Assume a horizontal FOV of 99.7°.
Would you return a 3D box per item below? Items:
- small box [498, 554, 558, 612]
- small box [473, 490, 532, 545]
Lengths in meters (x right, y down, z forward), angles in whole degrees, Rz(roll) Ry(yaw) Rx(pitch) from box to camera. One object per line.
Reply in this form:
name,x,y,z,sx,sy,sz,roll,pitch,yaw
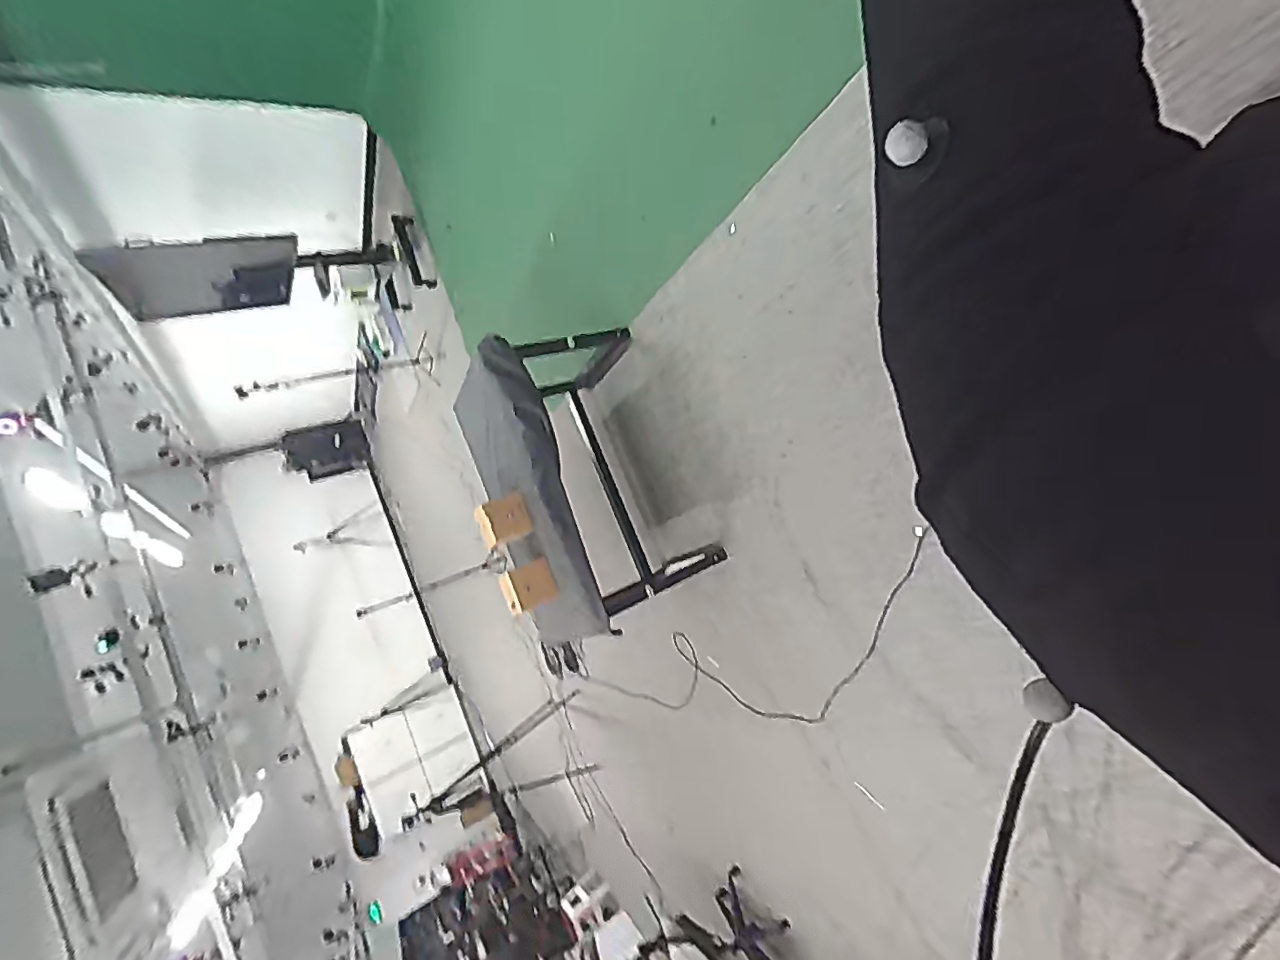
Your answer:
small box,-0.458,0.424,2.222,0.168,0.176,0.179,-35,76,57
small box,-0.568,0.154,2.248,0.179,0.176,0.168,-31,80,57
